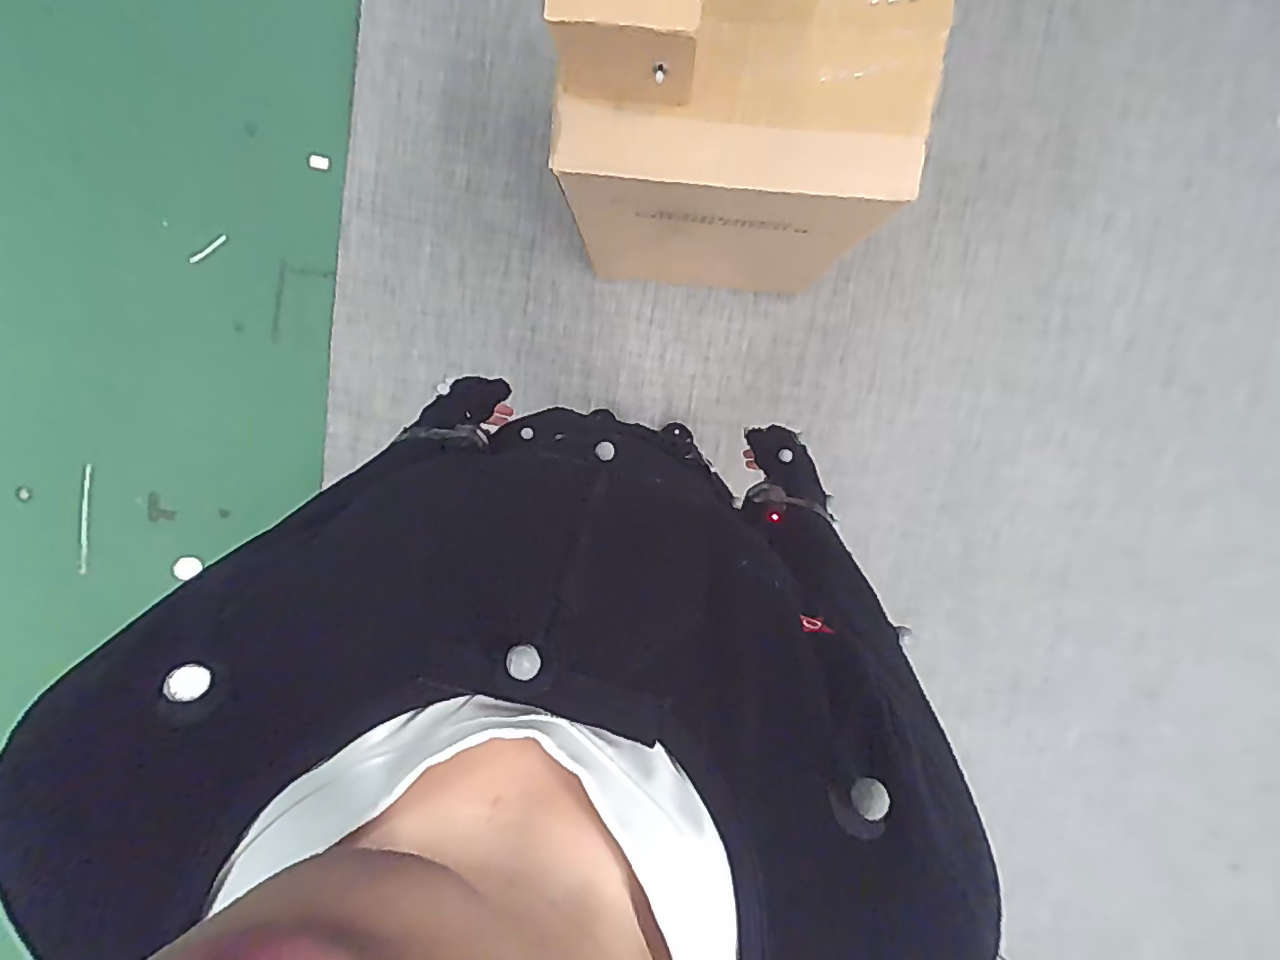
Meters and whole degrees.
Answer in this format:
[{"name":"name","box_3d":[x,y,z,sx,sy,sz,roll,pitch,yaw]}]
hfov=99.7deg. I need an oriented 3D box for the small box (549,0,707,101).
[{"name":"small box","box_3d":[-0.006,-0.599,0.666,0.179,0.176,0.168,5,100,2]}]
